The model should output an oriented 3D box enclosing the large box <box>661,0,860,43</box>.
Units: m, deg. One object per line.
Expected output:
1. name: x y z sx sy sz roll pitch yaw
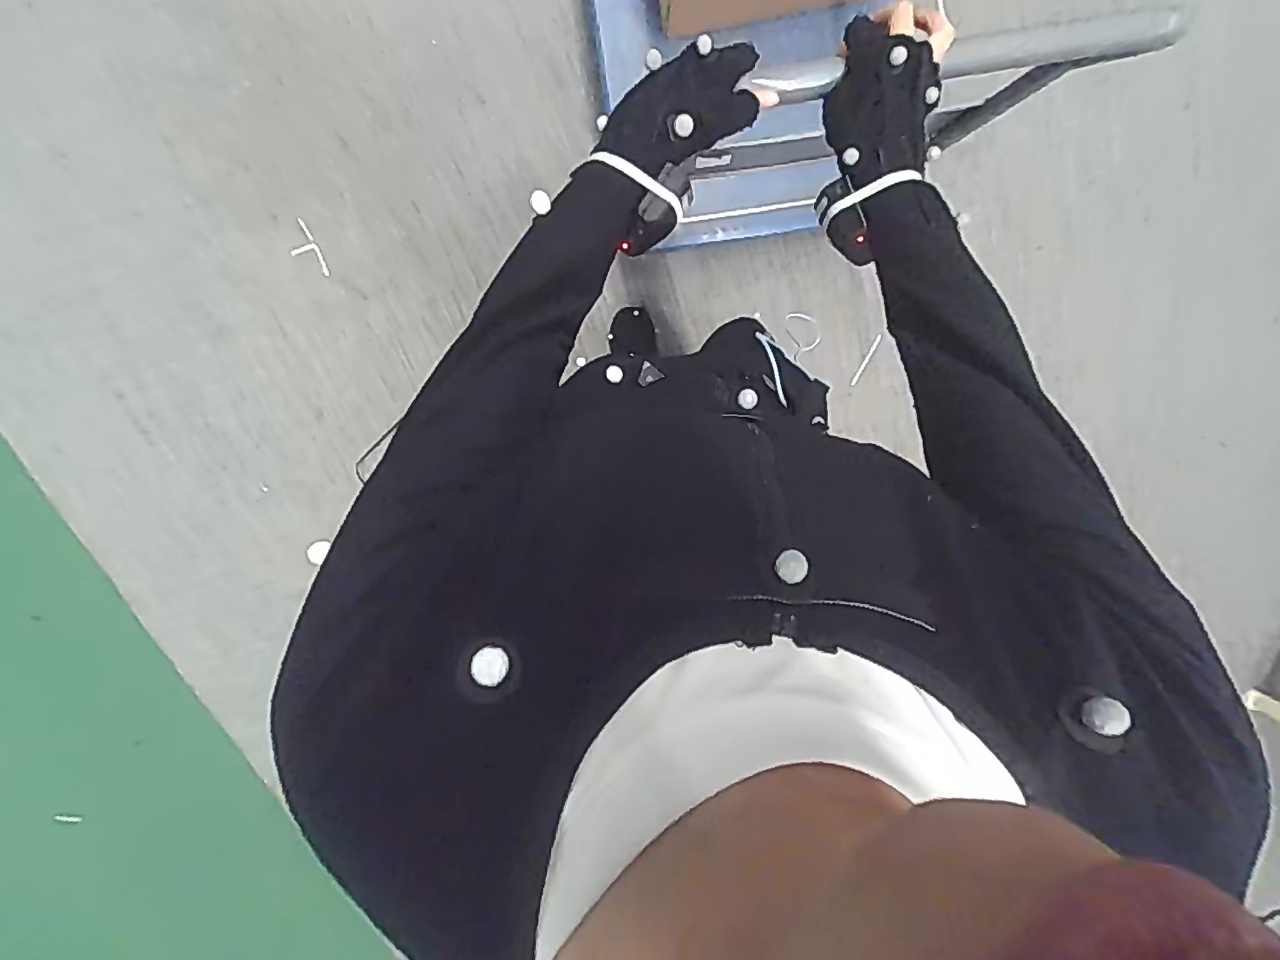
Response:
1. large box: 0.224 -0.977 0.857 0.408 0.320 0.320 -10 107 2
